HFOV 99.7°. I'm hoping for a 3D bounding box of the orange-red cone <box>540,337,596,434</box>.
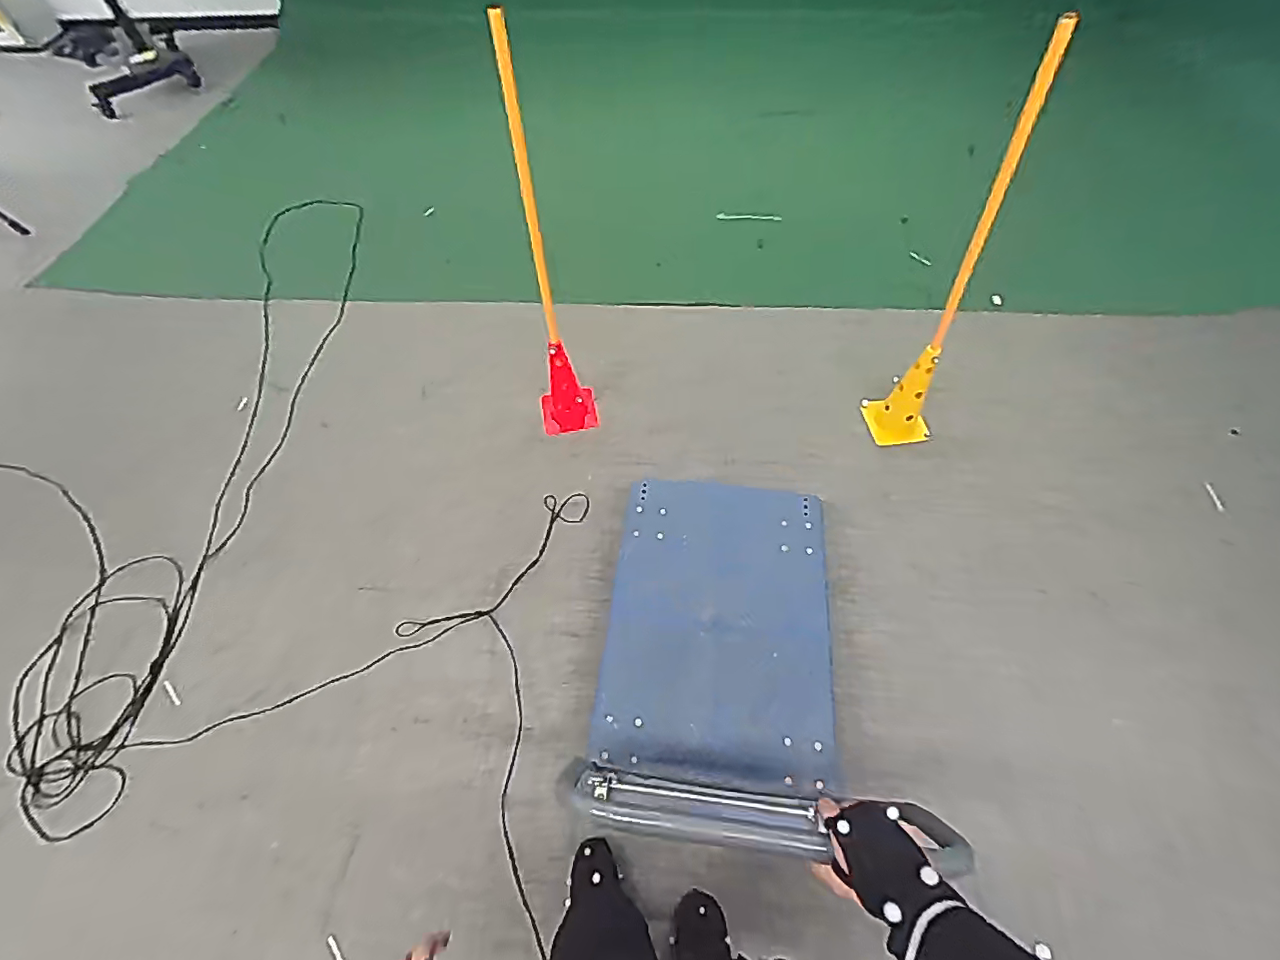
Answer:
[{"bbox_3d":[-0.279,-0.350,1.875,0.199,0.360,0.198,-11,57,-3],"label":"orange-red cone"}]
